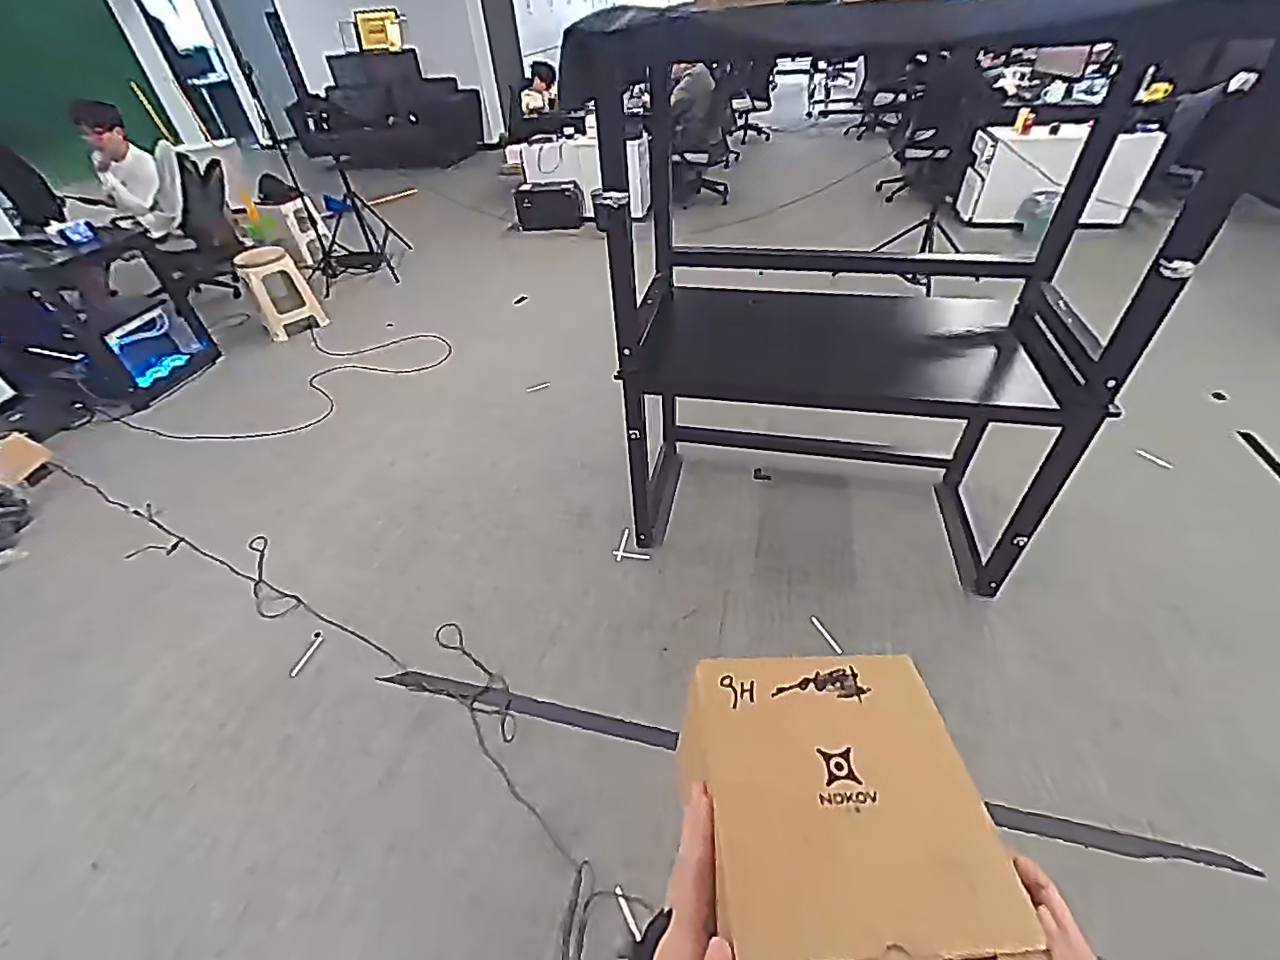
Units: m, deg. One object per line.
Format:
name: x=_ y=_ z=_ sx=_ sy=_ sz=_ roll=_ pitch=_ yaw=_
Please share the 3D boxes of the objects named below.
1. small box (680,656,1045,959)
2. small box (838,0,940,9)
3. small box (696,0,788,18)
small box: x=0.123 y=0.250 z=0.388 sx=0.168 sy=0.176 sz=0.179 roll=0 pitch=41 yaw=-4
small box: x=0.442 y=-0.924 z=0.927 sx=0.168 sy=0.176 sz=0.179 roll=6 pitch=41 yaw=11
small box: x=0.191 y=-0.948 z=0.971 sx=0.168 sy=0.176 sz=0.179 roll=6 pitch=40 yaw=9
